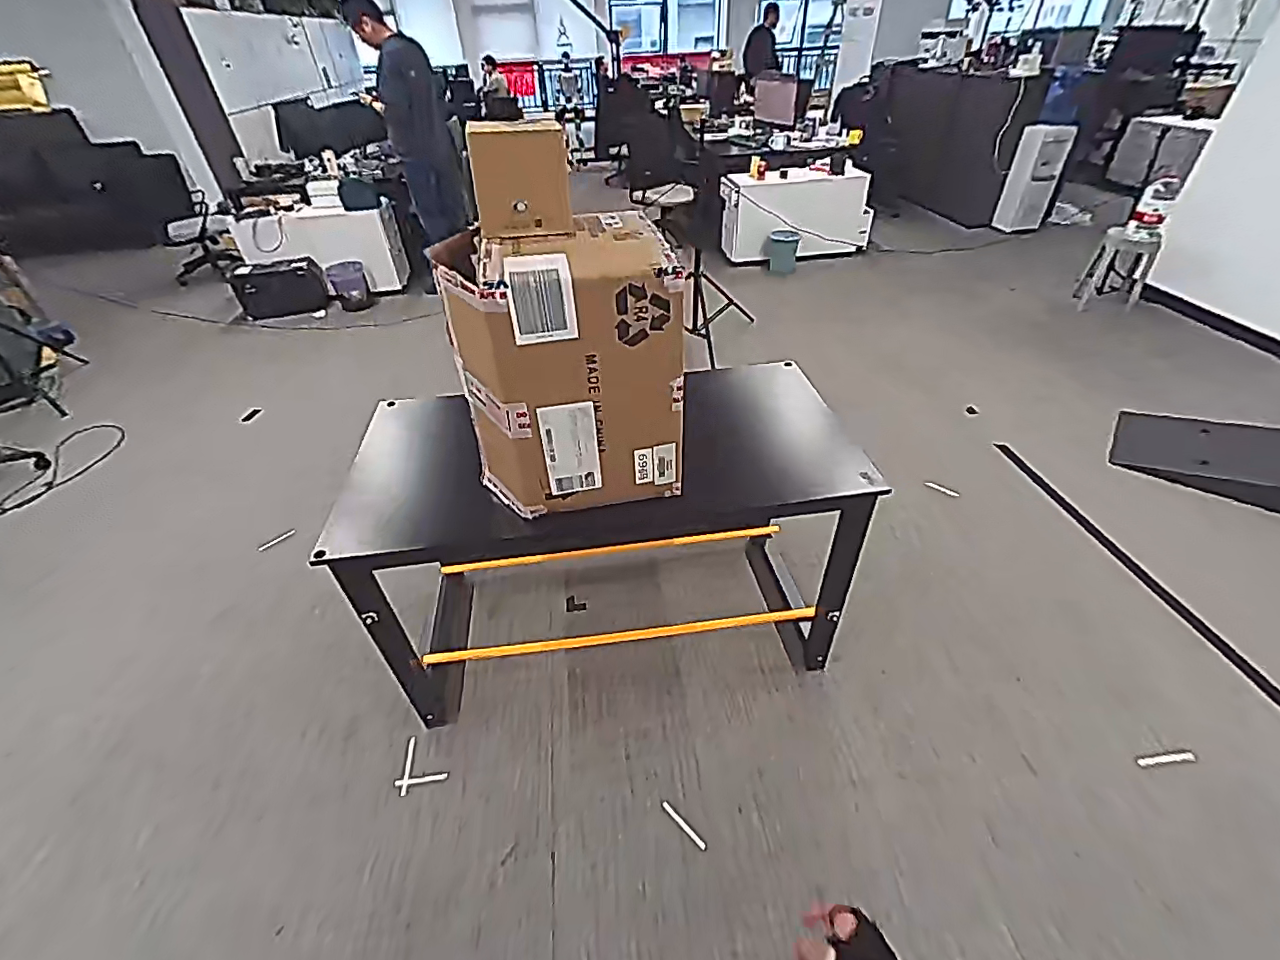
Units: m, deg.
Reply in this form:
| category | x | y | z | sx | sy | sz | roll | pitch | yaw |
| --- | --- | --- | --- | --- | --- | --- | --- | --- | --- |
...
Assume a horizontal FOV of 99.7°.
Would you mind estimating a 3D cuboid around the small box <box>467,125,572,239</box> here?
| category | x | y | z | sx | sy | sz | roll | pitch | yaw |
| --- | --- | --- | --- | --- | --- | --- | --- | --- | --- |
| small box | -0.225 | -0.564 | 1.021 | 0.168 | 0.176 | 0.179 | -9 | 38 | -10 |
